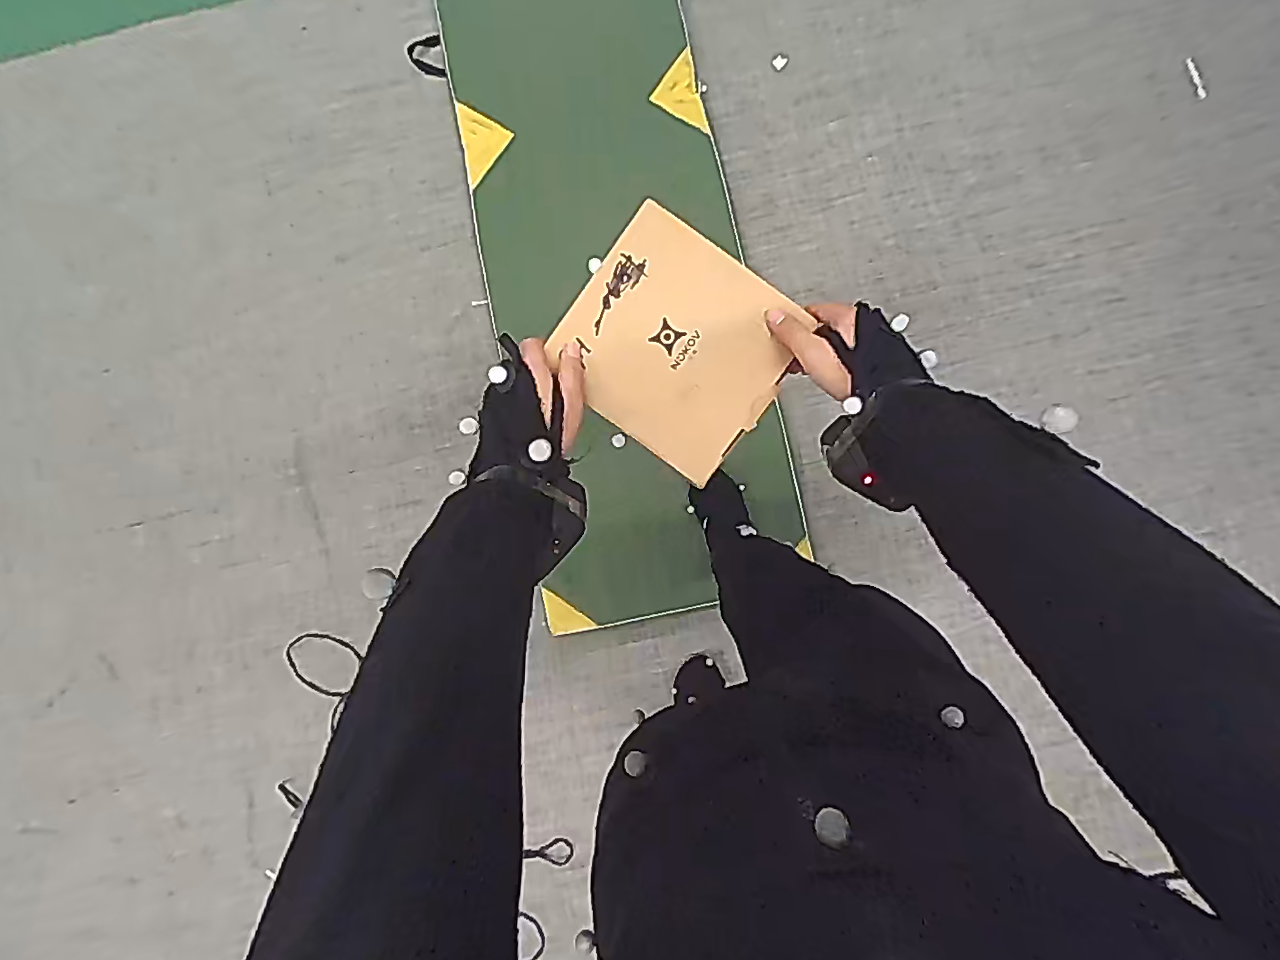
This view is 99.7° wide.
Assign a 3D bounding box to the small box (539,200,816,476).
[{"bbox_3d":[0.032,-0.122,0.529,0.179,0.176,0.168,36,92,-1],"label":"small box"}]
